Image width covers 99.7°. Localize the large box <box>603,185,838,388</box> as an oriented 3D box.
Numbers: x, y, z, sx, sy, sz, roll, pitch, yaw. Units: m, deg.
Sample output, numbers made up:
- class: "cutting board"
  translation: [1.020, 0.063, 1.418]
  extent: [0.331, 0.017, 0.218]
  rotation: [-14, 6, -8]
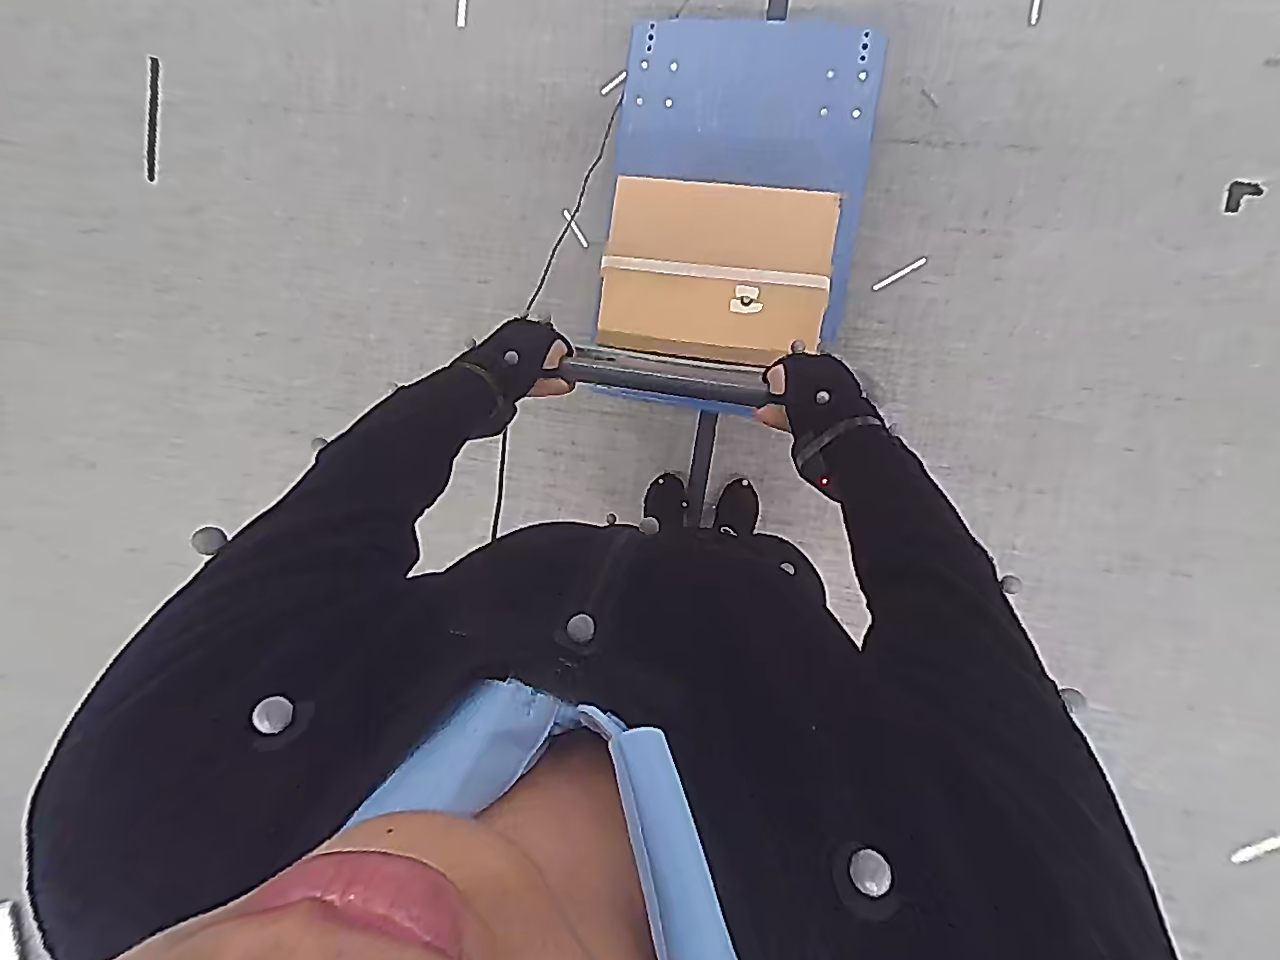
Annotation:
- class: "large box"
  translation: [0.159, -0.383, 1.143]
  extent: [0.408, 0.320, 0.320]
  rotation: [8, 95, 7]
